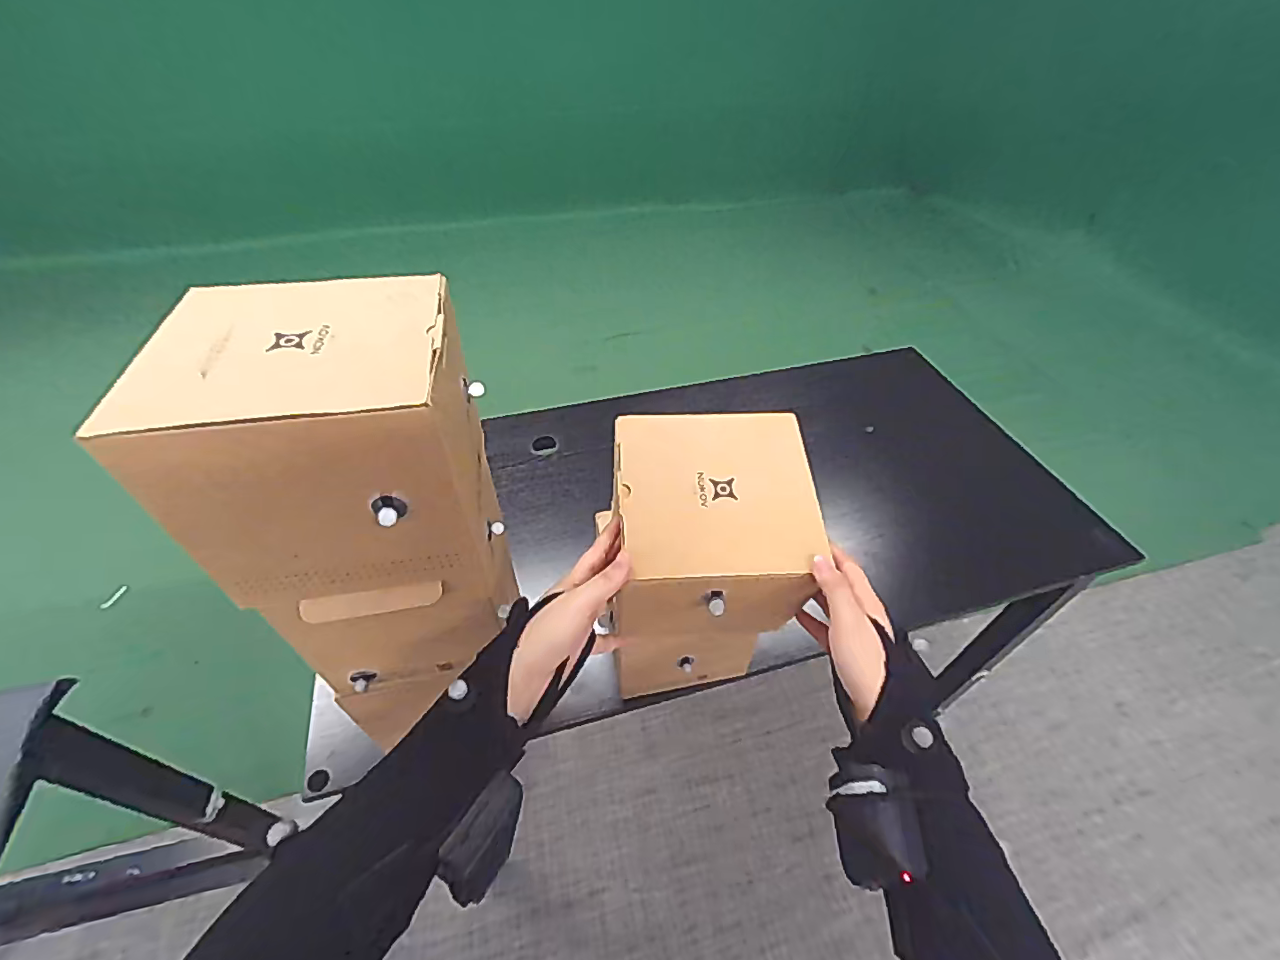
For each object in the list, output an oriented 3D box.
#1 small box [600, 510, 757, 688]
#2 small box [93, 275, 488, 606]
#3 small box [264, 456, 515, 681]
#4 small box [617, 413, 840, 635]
[{"bbox_3d":[0.045,0.146,0.687,0.168,0.176,0.179,-8,48,-9],"label":"small box"},{"bbox_3d":[-0.211,-0.029,0.398,0.179,0.176,0.168,-8,46,-9],"label":"small box"},{"bbox_3d":[-0.217,0.076,0.522,0.168,0.176,0.179,-8,46,-10],"label":"small box"},{"bbox_3d":[0.069,0.050,0.540,0.179,0.176,0.168,-2,59,-4],"label":"small box"}]
